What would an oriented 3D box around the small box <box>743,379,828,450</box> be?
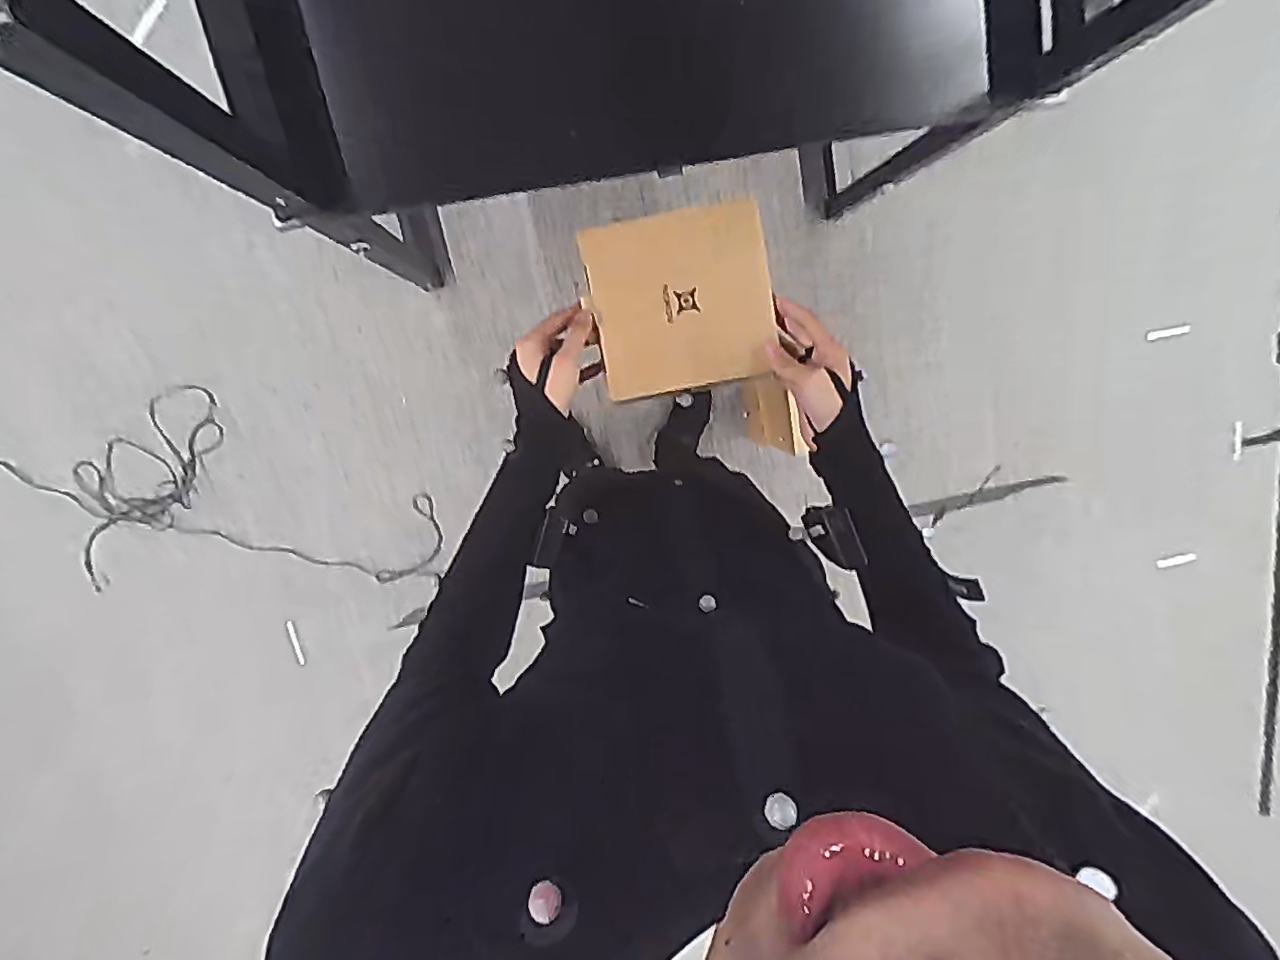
[{"bbox_3d":[0.412,-0.193,1.548,0.179,0.176,0.168,-14,102,-3],"label":"small box"}]
